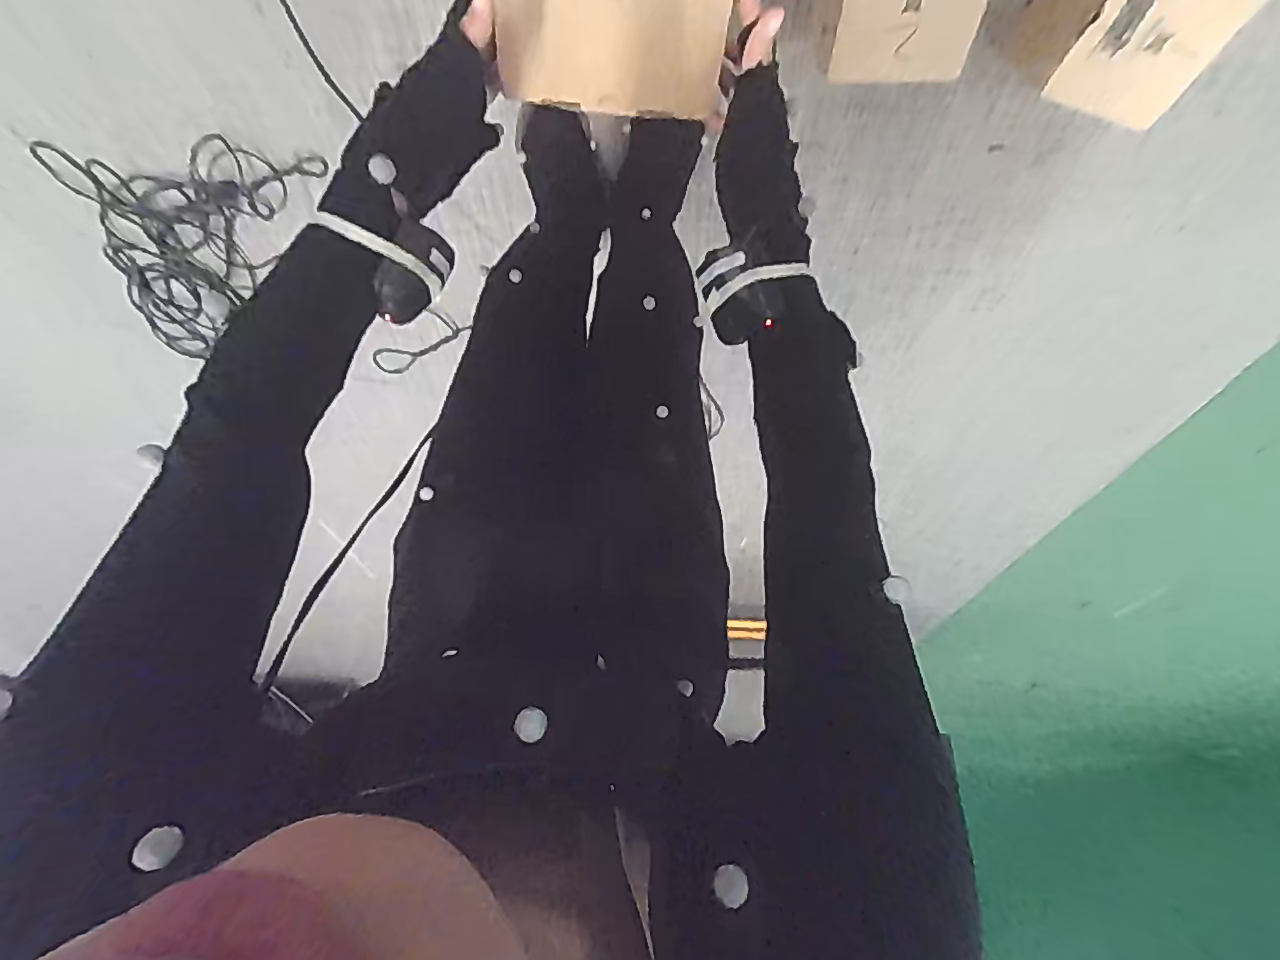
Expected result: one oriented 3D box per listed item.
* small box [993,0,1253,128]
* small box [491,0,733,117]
[{"bbox_3d":[0.601,-0.593,0.689,0.179,0.176,0.168,9,143,-11],"label":"small box"},{"bbox_3d":[-0.020,-0.401,0.396,0.168,0.176,0.179,2,141,-6],"label":"small box"}]
